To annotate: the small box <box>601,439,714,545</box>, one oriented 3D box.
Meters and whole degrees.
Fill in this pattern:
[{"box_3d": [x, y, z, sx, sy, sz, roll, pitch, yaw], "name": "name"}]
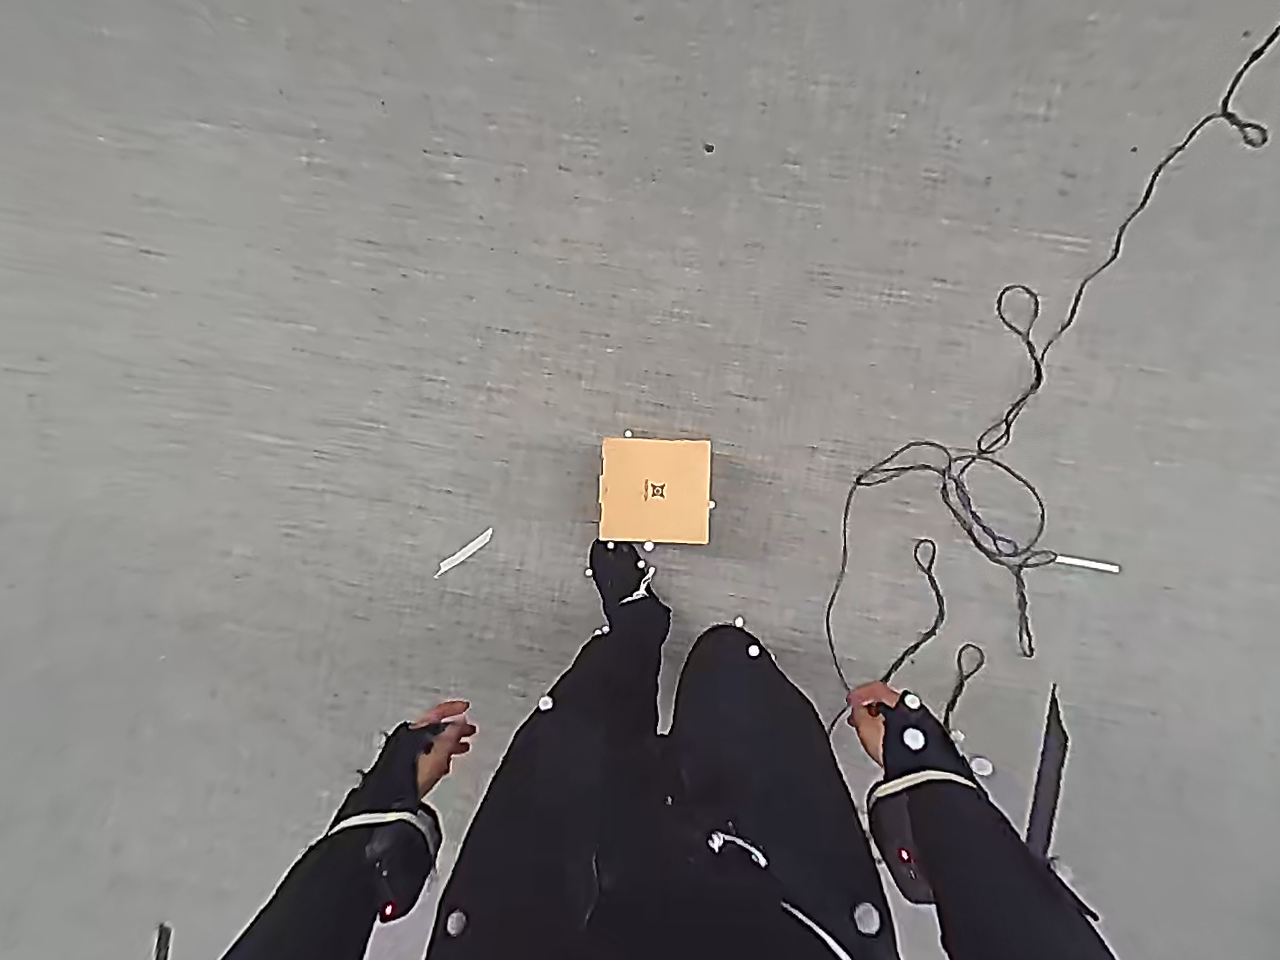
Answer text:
[{"box_3d": [0.031, 0.018, 0.929, 0.179, 0.176, 0.168, 1, 89, 3], "name": "small box"}]
